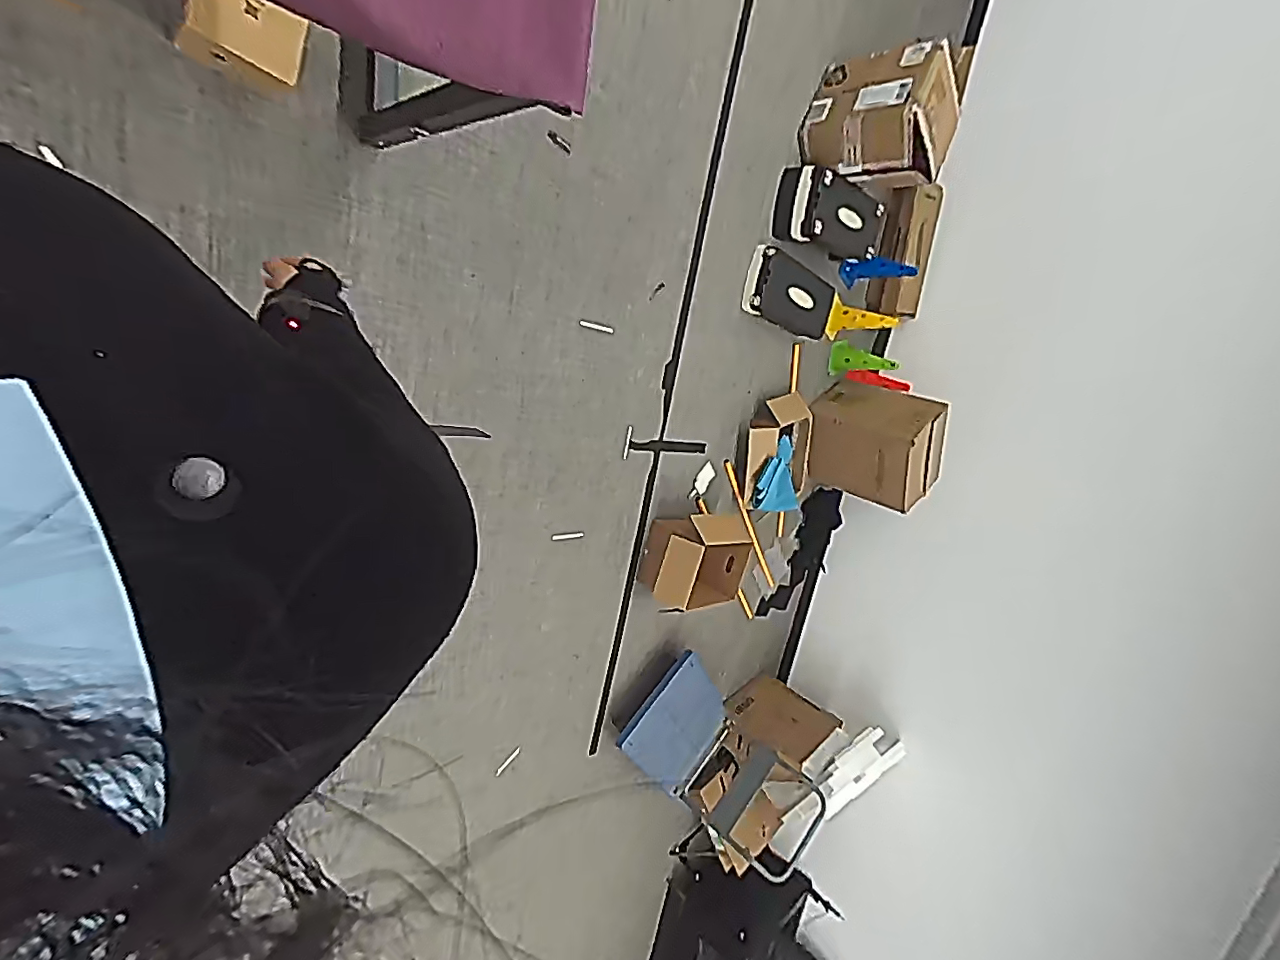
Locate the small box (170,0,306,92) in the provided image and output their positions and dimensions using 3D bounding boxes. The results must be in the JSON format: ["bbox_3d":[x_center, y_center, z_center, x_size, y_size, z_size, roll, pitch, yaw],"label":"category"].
[{"bbox_3d":[-0.748,-0.864,1.004,0.168,0.176,0.179,9,100,-49],"label":"small box"}]
